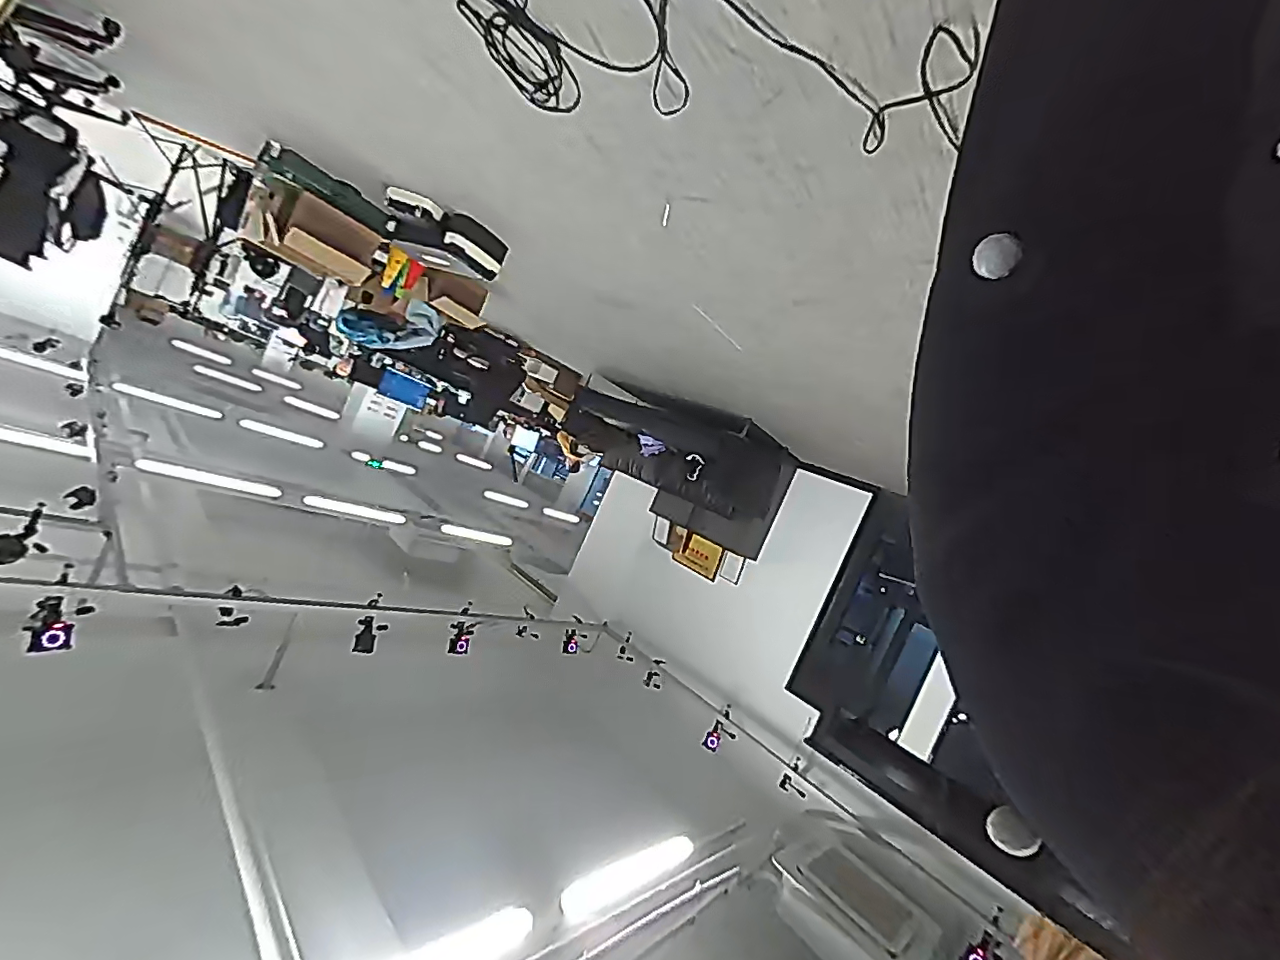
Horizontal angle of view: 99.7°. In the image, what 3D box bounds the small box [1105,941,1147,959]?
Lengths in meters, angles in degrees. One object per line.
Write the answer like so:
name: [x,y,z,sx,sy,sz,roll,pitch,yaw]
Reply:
small box: [1.405,1.460,1.524,0.179,0.176,0.168,24,-177,-42]
